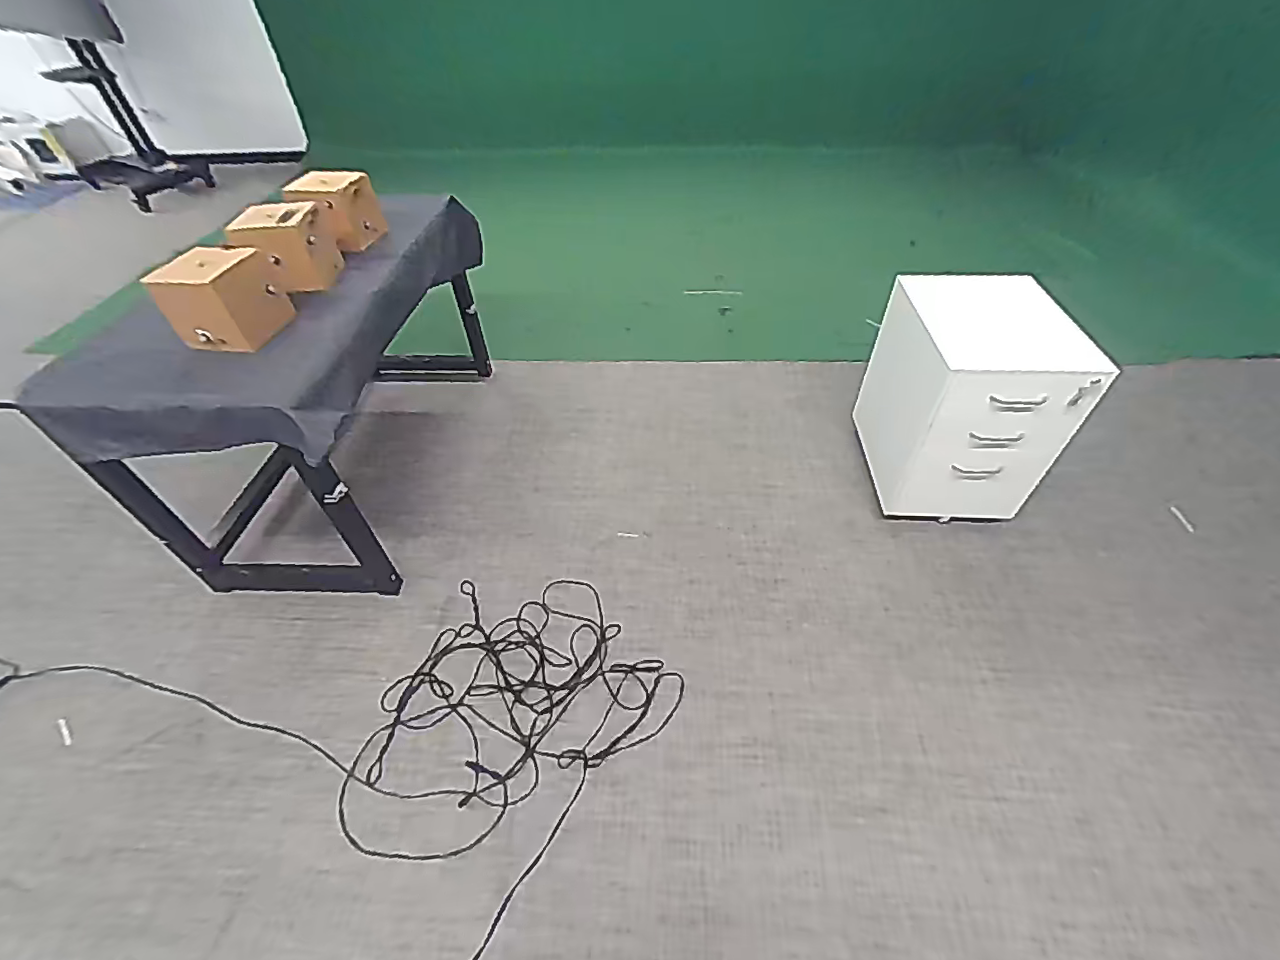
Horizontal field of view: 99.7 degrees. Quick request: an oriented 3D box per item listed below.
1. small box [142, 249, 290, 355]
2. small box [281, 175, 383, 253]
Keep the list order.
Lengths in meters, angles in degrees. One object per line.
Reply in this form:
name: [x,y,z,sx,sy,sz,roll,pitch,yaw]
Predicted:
small box: [-0.941,-0.404,1.227,0.168,0.176,0.179,3,47,7]
small box: [-0.903,-0.787,1.602,0.179,0.176,0.168,5,46,6]
